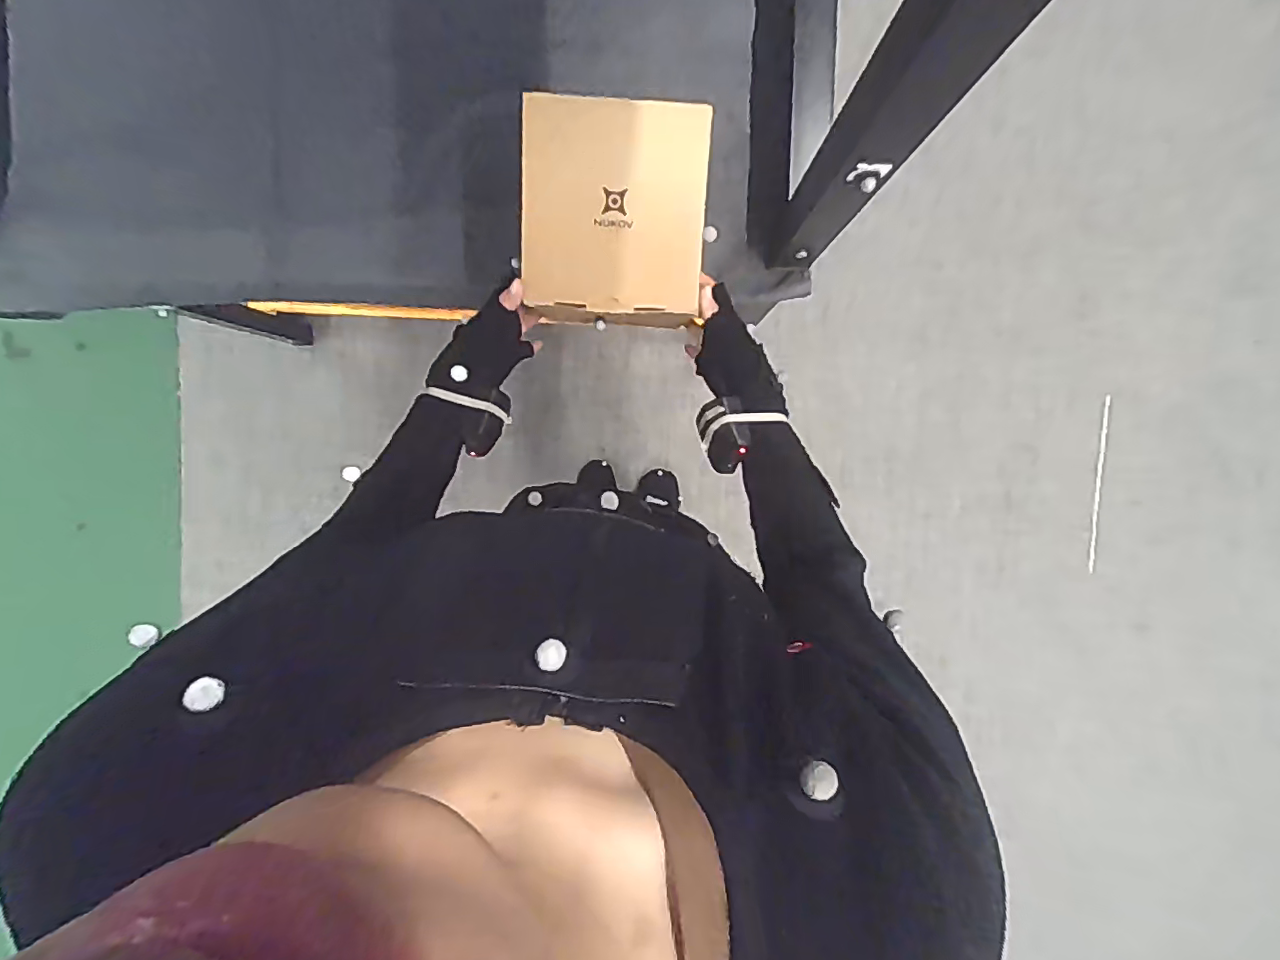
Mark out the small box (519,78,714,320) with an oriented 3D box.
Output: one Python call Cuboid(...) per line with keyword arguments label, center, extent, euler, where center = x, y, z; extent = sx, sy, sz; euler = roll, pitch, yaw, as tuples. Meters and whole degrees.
Cuboid(label="small box", center=(-0.025, -0.263, 0.548), extent=(0.168, 0.176, 0.179), euler=(2, 103, -2))
